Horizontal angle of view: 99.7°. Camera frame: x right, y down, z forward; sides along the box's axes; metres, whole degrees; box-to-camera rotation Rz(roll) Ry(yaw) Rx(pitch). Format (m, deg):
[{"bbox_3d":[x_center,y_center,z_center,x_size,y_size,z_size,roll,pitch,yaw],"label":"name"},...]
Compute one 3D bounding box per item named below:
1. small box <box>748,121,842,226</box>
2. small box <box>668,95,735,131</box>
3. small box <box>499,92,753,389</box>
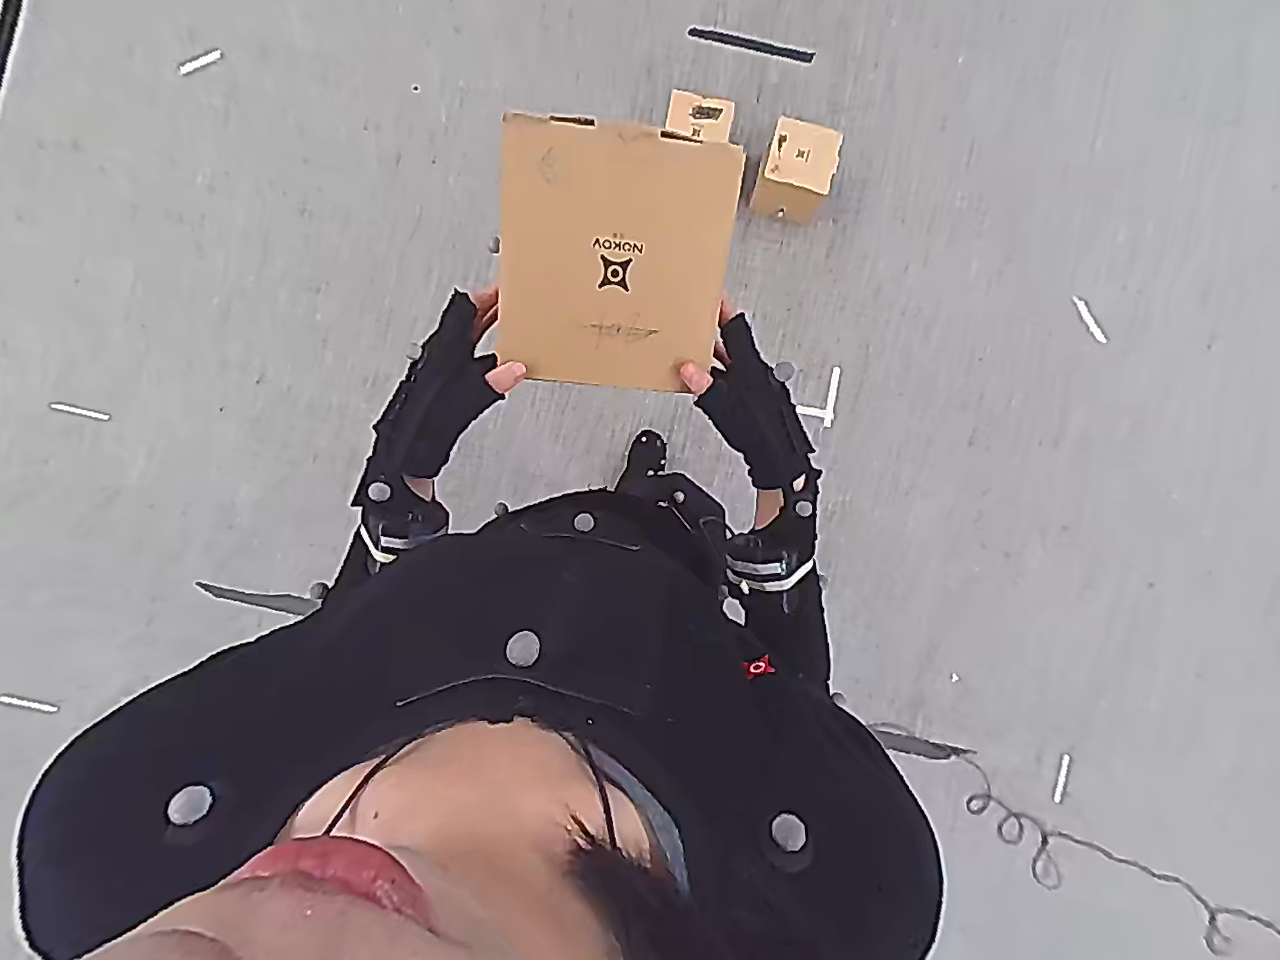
[{"bbox_3d":[0.412,-0.816,1.461,0.179,0.176,0.168,16,90,-3],"label":"small box"},{"bbox_3d":[0.142,-0.876,1.450,0.168,0.176,0.179,12,90,-1],"label":"small box"},{"bbox_3d":[-0.023,-0.189,0.454,0.168,0.176,0.179,4,113,-8],"label":"small box"}]
